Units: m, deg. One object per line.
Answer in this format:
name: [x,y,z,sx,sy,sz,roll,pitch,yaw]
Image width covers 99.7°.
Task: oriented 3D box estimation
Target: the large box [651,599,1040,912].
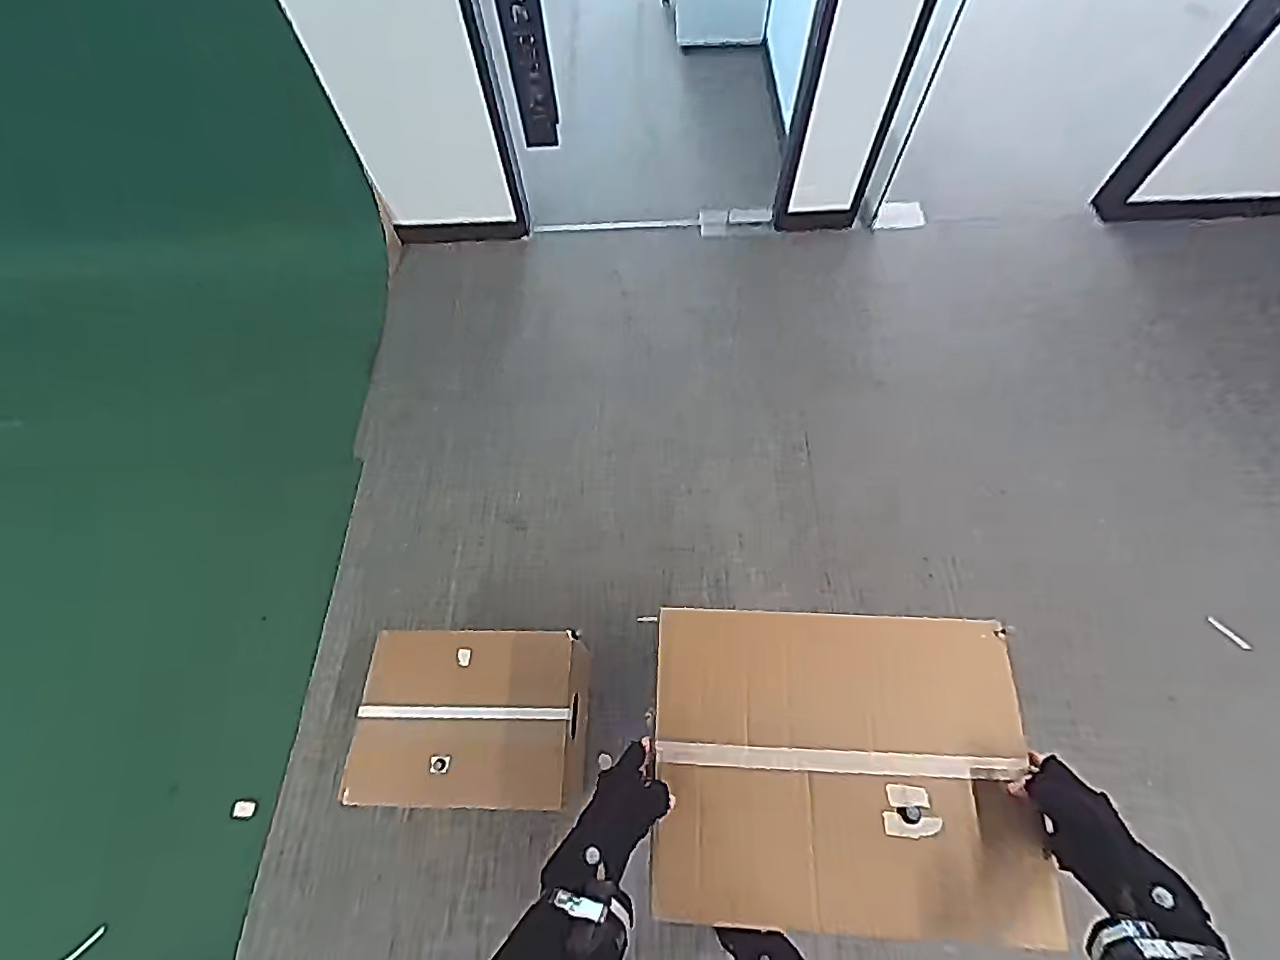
large box: [0.218,0.352,0.749,0.408,0.320,0.320,2,68,2]
